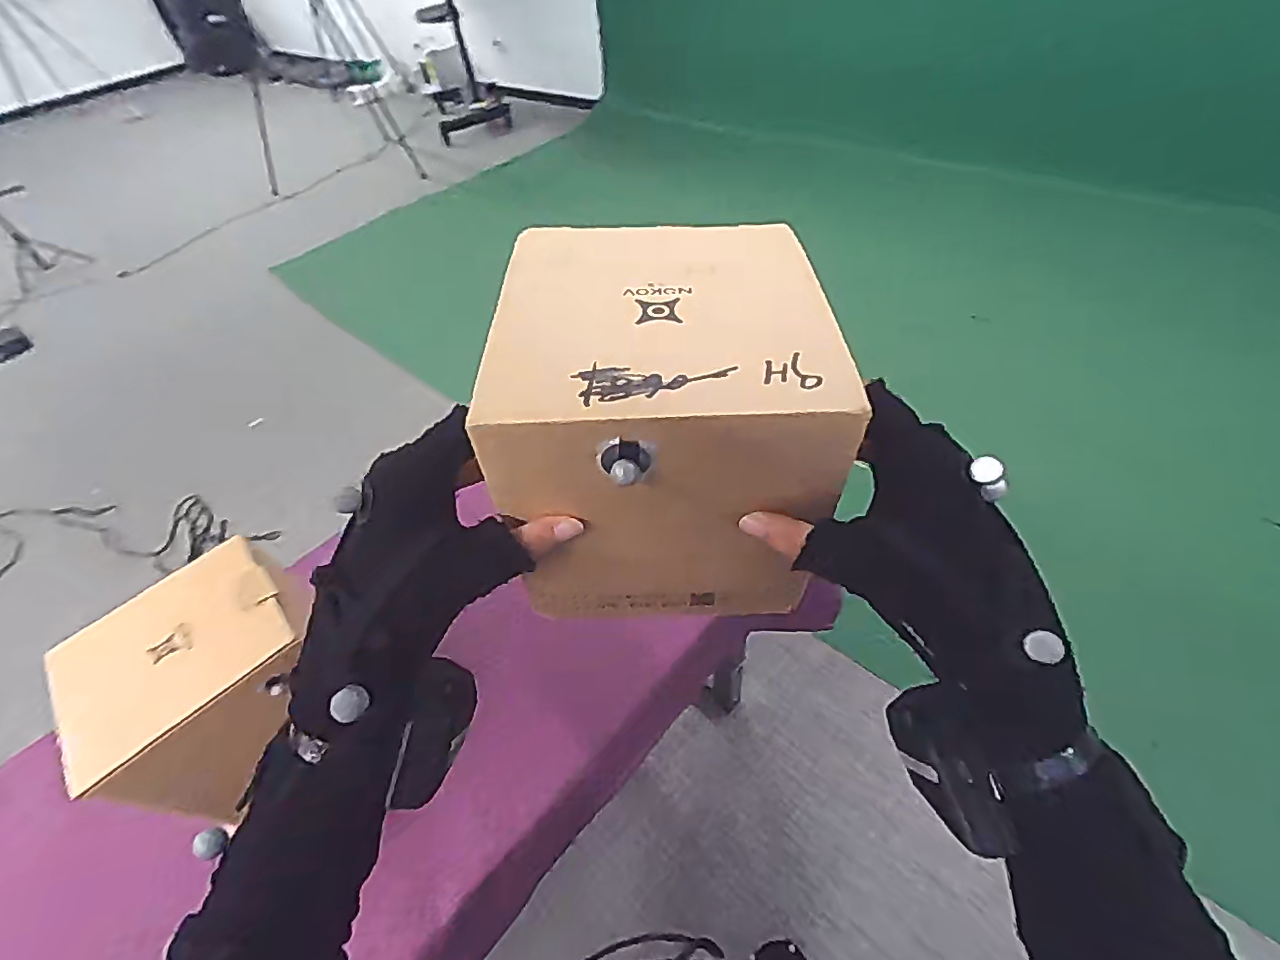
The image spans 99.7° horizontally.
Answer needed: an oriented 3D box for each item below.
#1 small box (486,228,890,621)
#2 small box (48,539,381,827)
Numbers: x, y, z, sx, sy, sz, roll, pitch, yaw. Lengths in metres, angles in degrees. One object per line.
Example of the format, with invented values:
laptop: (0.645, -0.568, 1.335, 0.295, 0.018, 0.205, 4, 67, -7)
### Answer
small box: (0.021, -0.033, 0.330, 0.168, 0.176, 0.179, -1, 48, 2)
small box: (-0.399, 0.200, 0.531, 0.179, 0.176, 0.168, -40, 56, -23)
